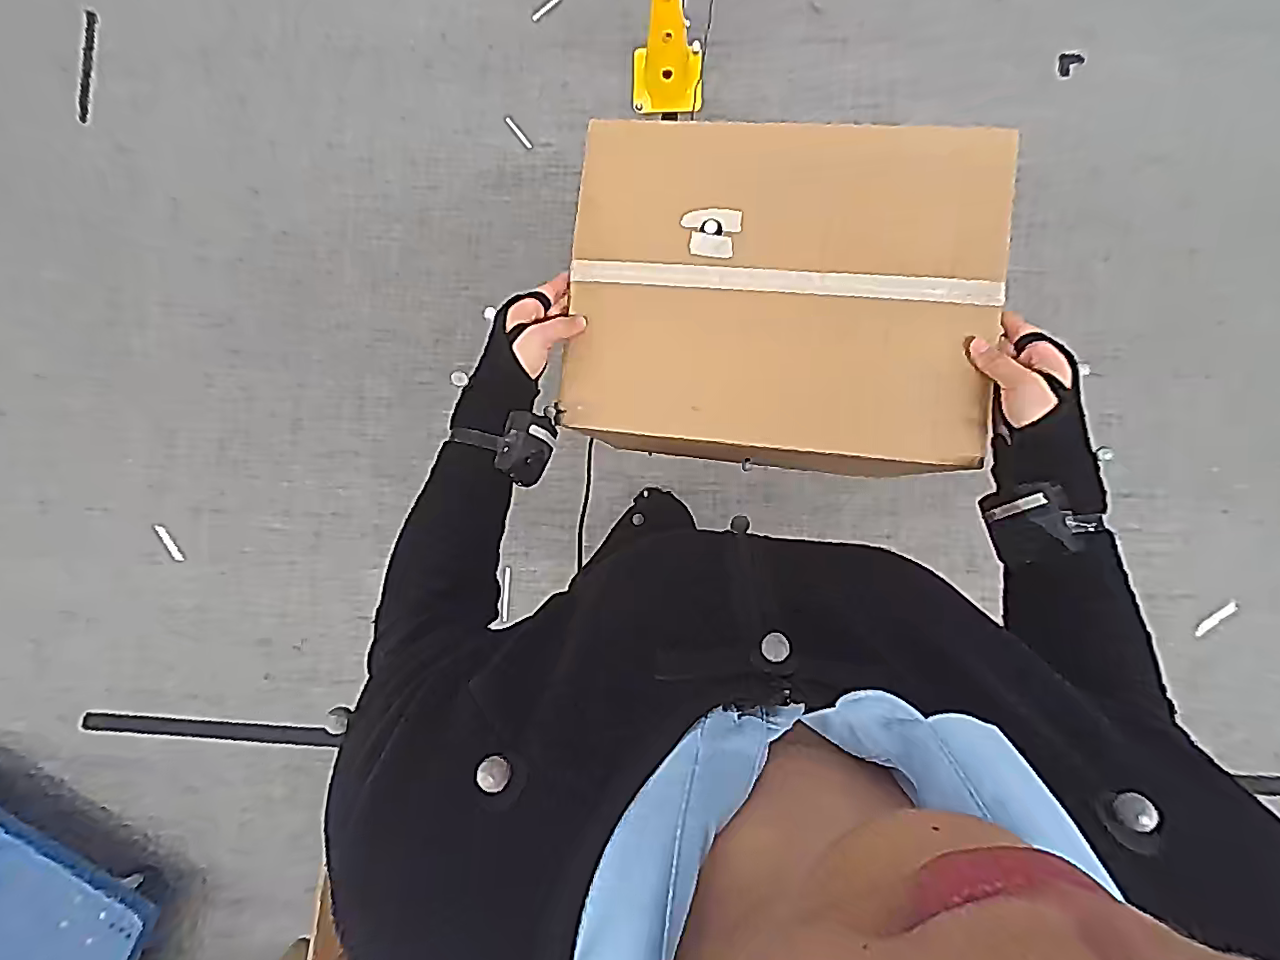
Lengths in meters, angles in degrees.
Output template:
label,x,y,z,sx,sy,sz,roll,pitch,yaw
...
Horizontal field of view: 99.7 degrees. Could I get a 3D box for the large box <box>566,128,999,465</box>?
label,x,y,z,sx,sy,sz,roll,pitch,yaw
large box,0.154,-0.189,0.680,0.408,0.320,0.320,5,88,9
